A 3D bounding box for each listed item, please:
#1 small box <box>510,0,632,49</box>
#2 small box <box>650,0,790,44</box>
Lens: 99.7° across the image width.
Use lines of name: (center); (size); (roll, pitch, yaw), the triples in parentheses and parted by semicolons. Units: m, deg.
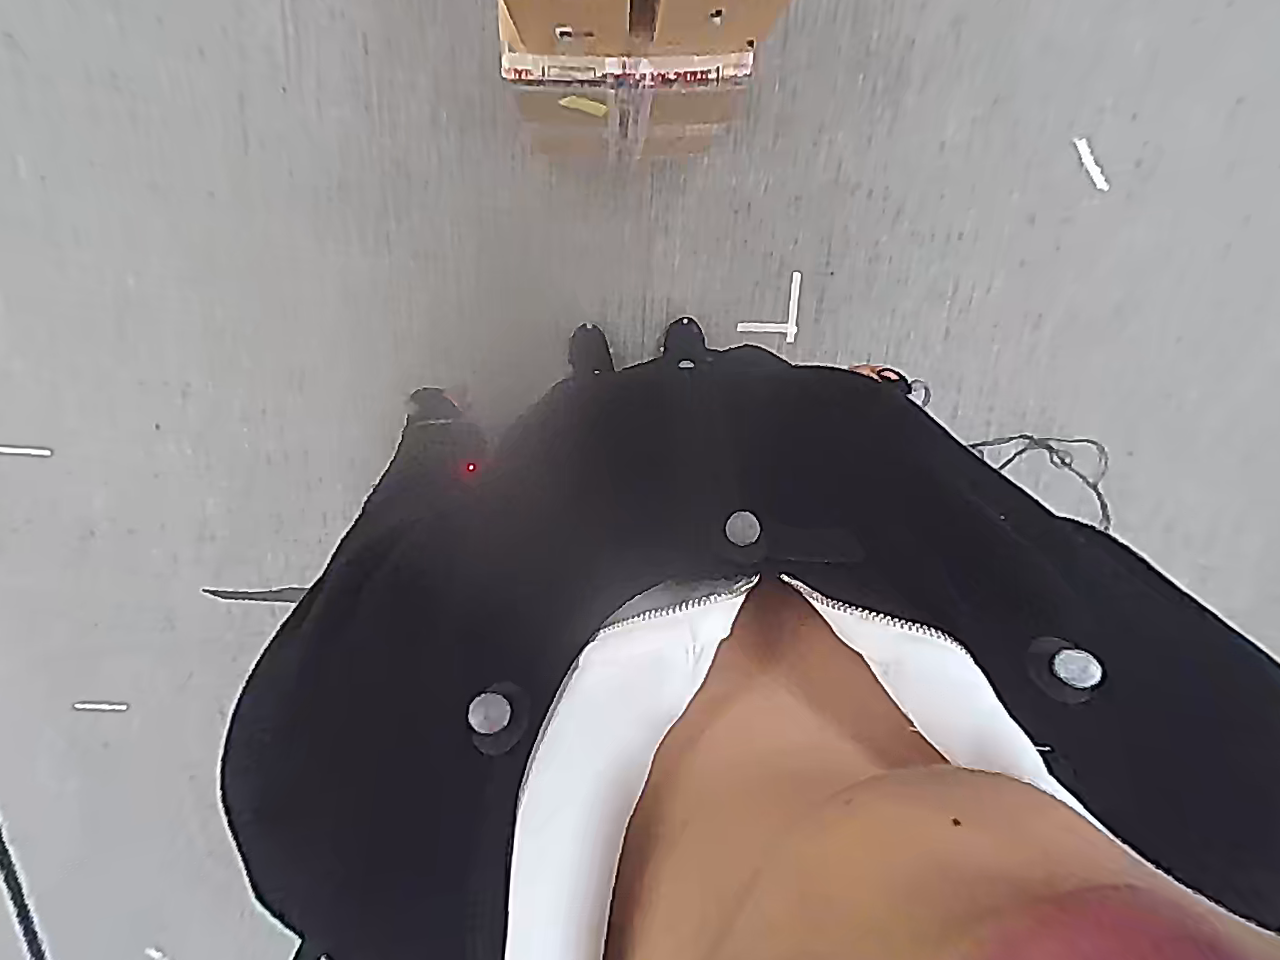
small box: (-0.100, -0.717, 0.718); (0.168, 0.176, 0.179); (-6, 111, 1)
small box: (0.107, -0.718, 0.725); (0.179, 0.176, 0.168); (-4, 109, -2)
